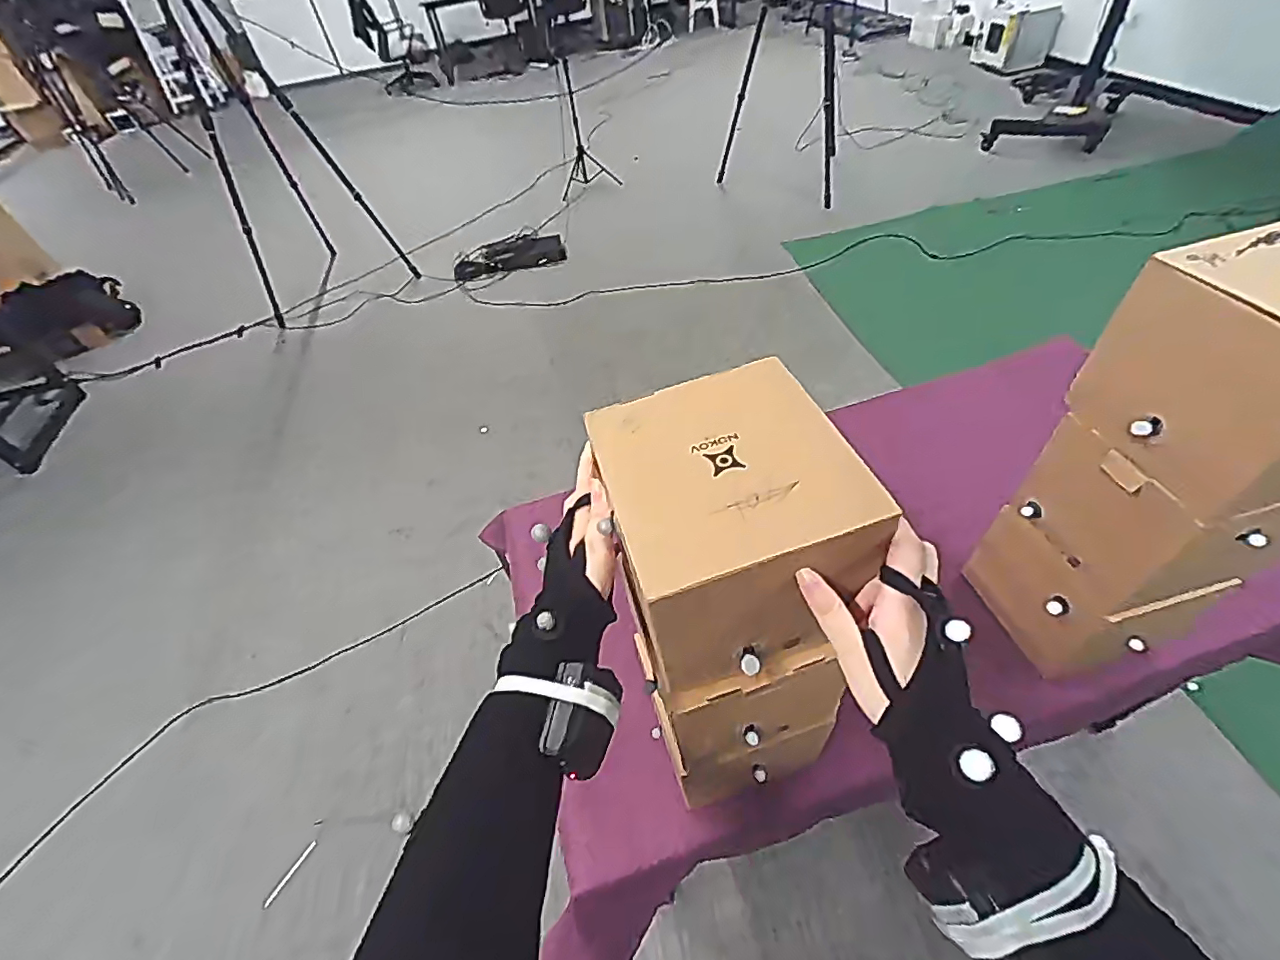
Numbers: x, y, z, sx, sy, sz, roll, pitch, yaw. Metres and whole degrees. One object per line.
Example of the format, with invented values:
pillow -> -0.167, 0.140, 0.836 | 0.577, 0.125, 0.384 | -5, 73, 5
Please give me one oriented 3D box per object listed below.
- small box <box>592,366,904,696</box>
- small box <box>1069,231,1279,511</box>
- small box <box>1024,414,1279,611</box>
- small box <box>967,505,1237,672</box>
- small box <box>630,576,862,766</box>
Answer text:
small box -> 0.070, 0.042, 0.434 | 0.168, 0.176, 0.179 | -17, 50, -5
small box -> 0.545, -0.091, 0.474 | 0.168, 0.176, 0.179 | -14, 49, -4
small box -> 0.568, 0.022, 0.592 | 0.179, 0.176, 0.168 | -14, 49, -4
small box -> 0.580, 0.134, 0.712 | 0.168, 0.176, 0.179 | -14, 48, -4
small box -> 0.091, 0.157, 0.548 | 0.168, 0.176, 0.179 | -17, 49, -6
